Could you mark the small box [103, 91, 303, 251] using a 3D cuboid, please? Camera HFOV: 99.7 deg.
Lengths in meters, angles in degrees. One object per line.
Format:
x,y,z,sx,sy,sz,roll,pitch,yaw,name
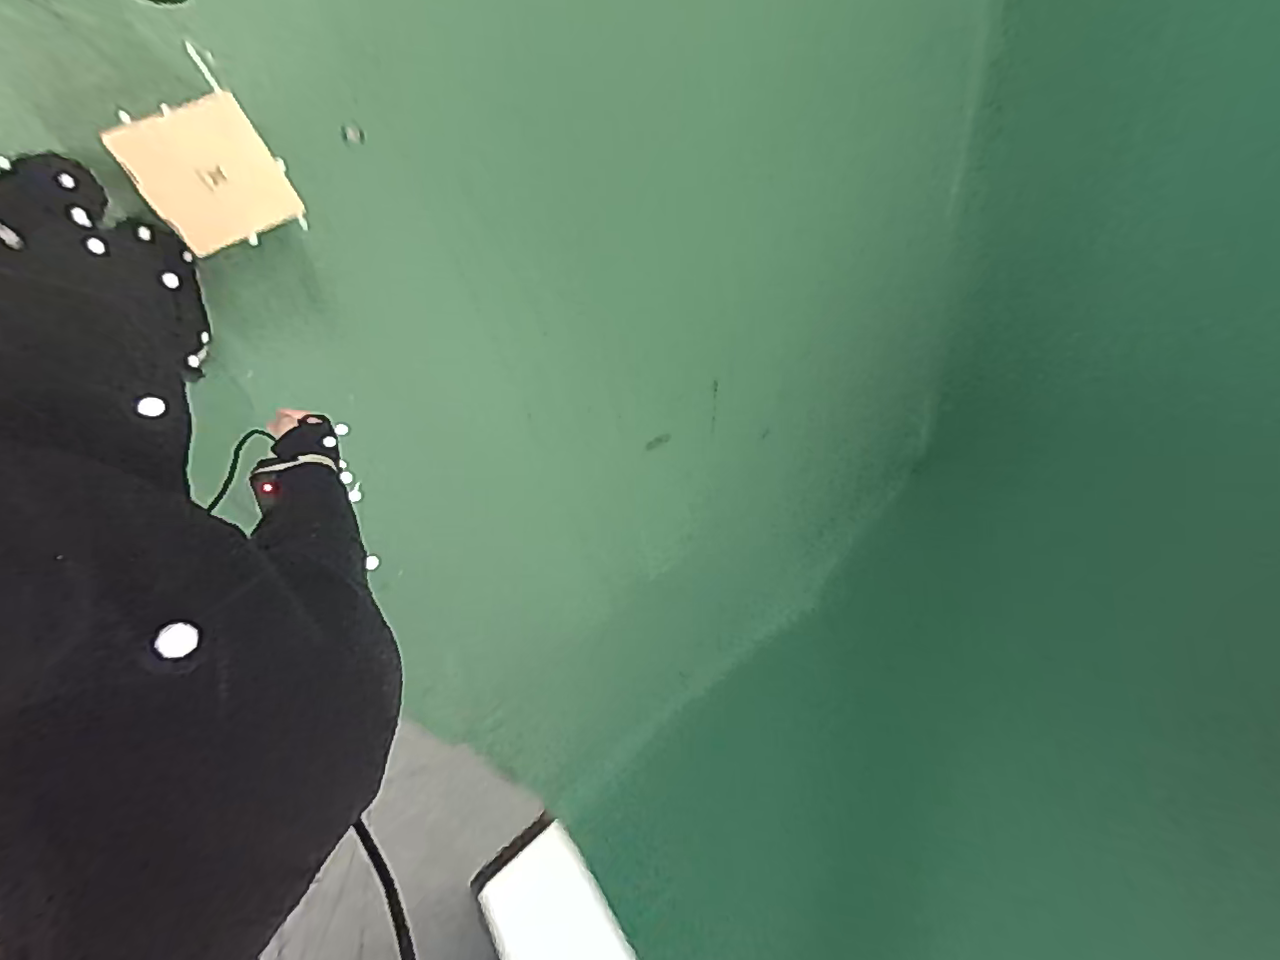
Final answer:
-0.676,-0.487,0.847,0.179,0.176,0.168,-35,135,-17,small box
